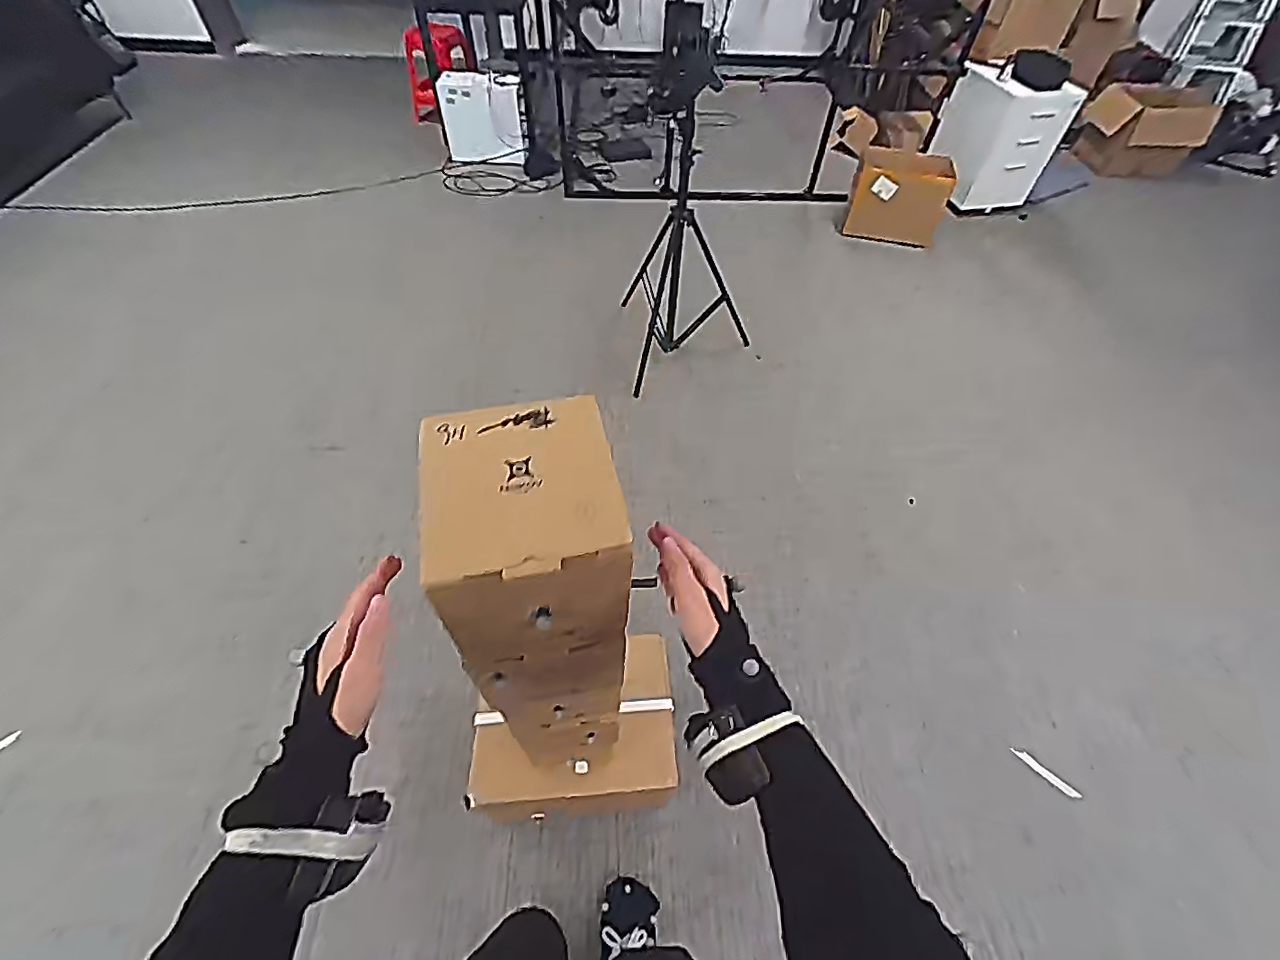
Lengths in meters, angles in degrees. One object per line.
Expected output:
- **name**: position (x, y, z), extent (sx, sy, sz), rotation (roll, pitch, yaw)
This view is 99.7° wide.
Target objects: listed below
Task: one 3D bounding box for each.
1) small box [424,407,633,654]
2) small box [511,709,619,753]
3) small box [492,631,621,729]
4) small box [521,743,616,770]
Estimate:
- **small box**: position (-0.105, 0.056, 0.530), extent (0.168, 0.176, 0.179), rotation (-9, 55, -11)
- **small box**: position (-0.123, 0.354, 0.922), extent (0.168, 0.176, 0.179), rotation (-3, 52, -6)
- **small box**: position (-0.121, 0.252, 0.793), extent (0.168, 0.176, 0.179), rotation (-6, 54, -9)
- **small box**: position (-0.135, 0.448, 1.053), extent (0.168, 0.176, 0.179), rotation (-3, 53, -4)
